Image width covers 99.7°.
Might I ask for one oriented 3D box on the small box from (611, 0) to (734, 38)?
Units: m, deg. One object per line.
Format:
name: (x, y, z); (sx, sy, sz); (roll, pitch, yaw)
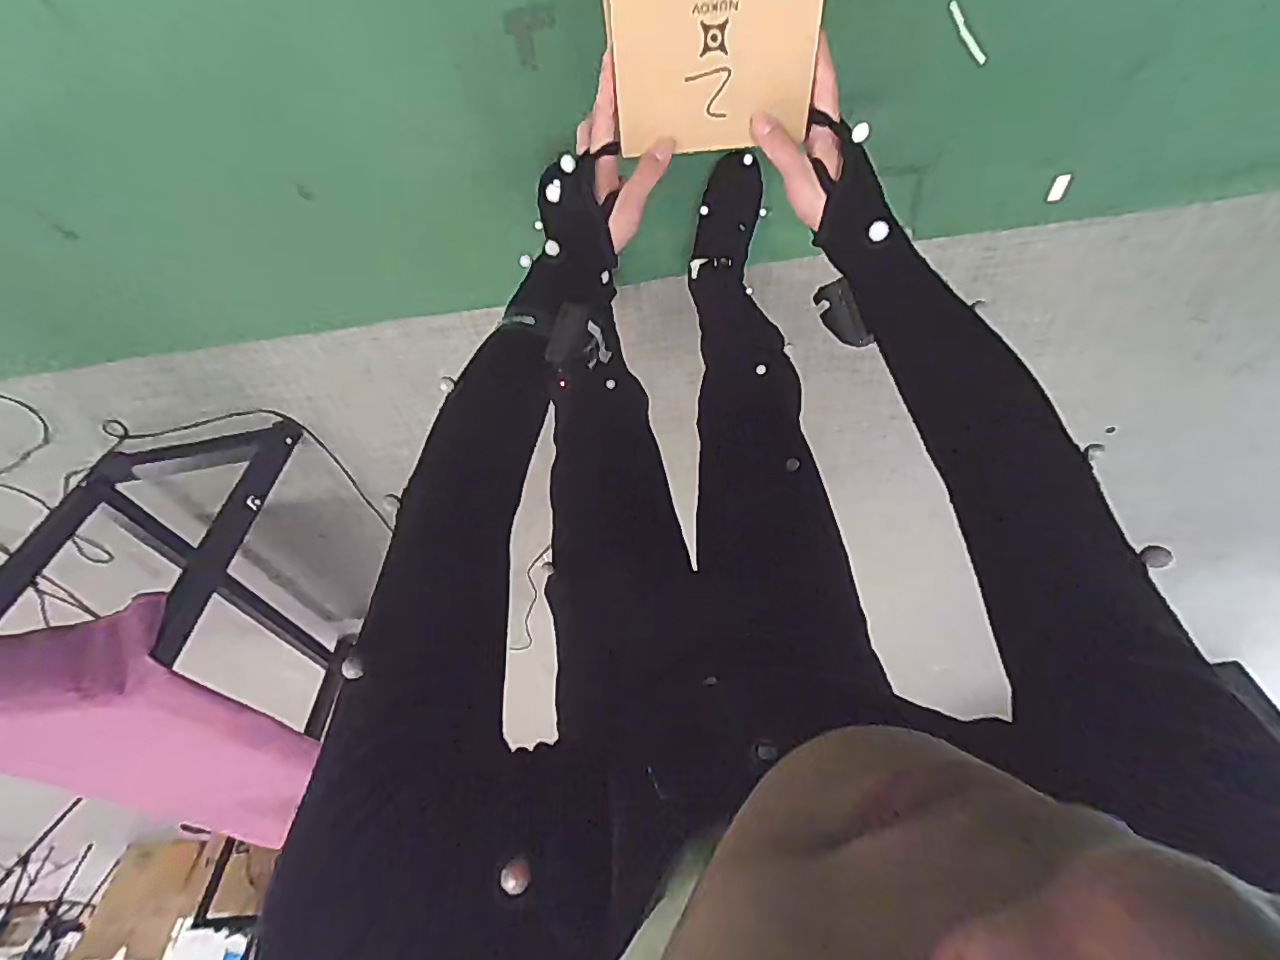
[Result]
small box: (0.035, -0.734, 0.734); (0.168, 0.176, 0.179); (-6, 137, 4)
